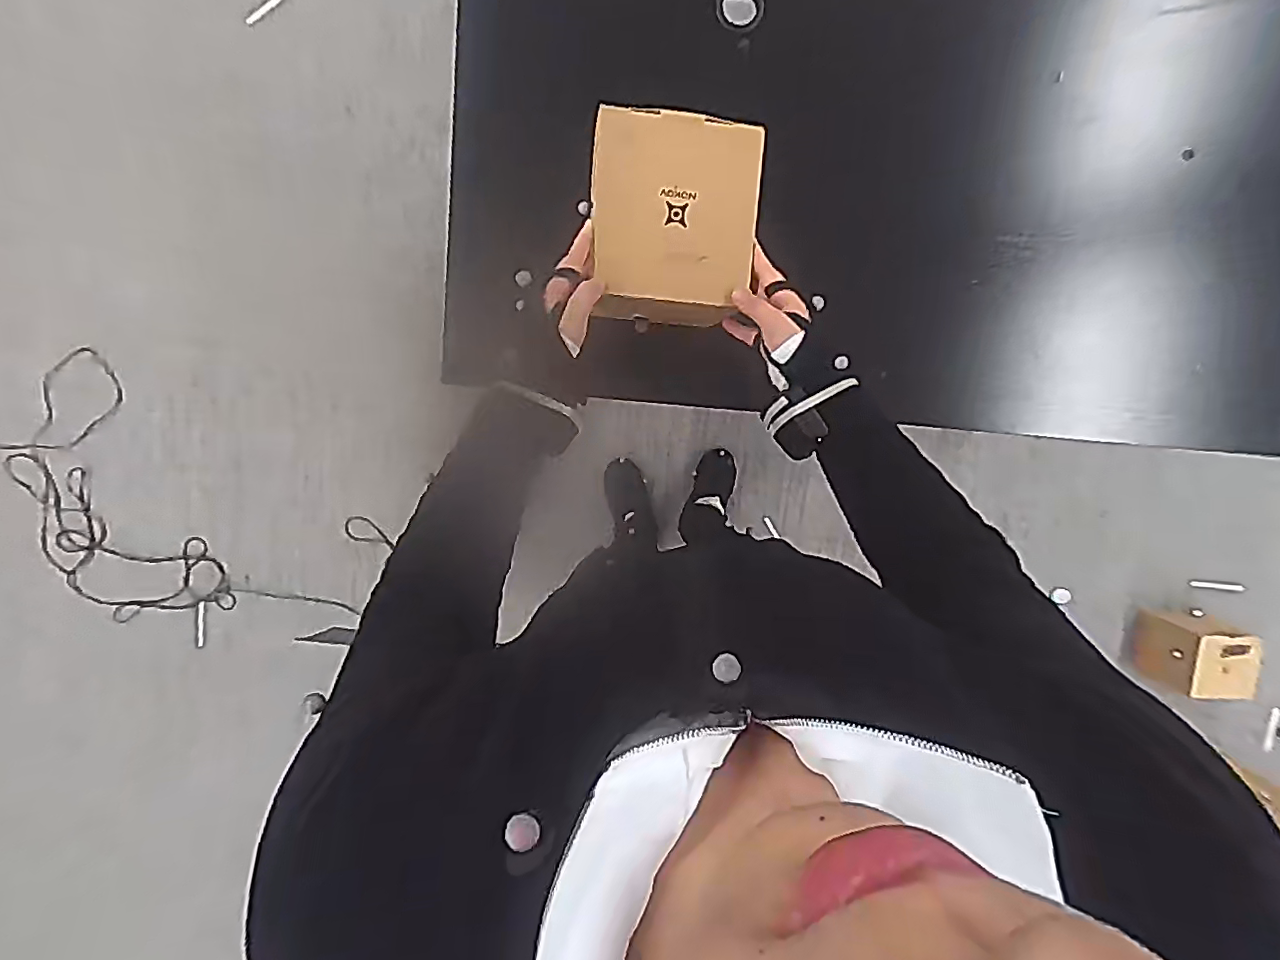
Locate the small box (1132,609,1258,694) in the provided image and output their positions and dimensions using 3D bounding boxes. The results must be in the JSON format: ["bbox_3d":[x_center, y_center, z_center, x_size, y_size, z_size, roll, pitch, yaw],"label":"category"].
[{"bbox_3d":[1.512,0.464,1.485,0.168,0.176,0.179,2,98,-1],"label":"small box"}]

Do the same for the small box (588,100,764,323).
[{"bbox_3d":[0.028,-0.284,0.613,0.168,0.176,0.179,3,99,-6],"label":"small box"}]
